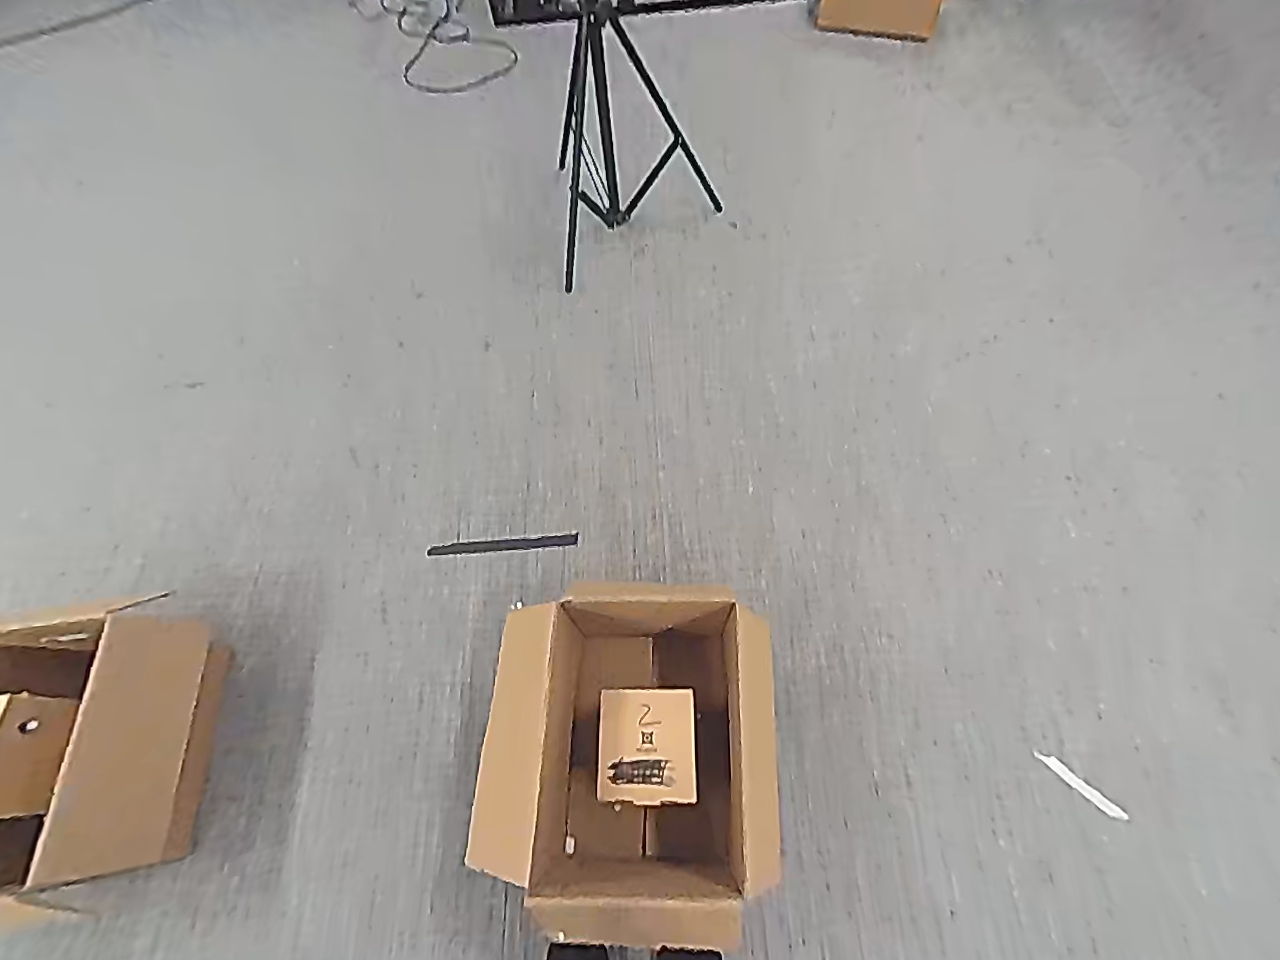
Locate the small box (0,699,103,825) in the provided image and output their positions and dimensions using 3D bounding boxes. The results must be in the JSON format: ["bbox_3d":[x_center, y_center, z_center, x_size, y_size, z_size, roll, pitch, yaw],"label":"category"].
[{"bbox_3d":[-1.059,0.470,0.891,0.168,0.176,0.179,-7,63,1],"label":"small box"}]
